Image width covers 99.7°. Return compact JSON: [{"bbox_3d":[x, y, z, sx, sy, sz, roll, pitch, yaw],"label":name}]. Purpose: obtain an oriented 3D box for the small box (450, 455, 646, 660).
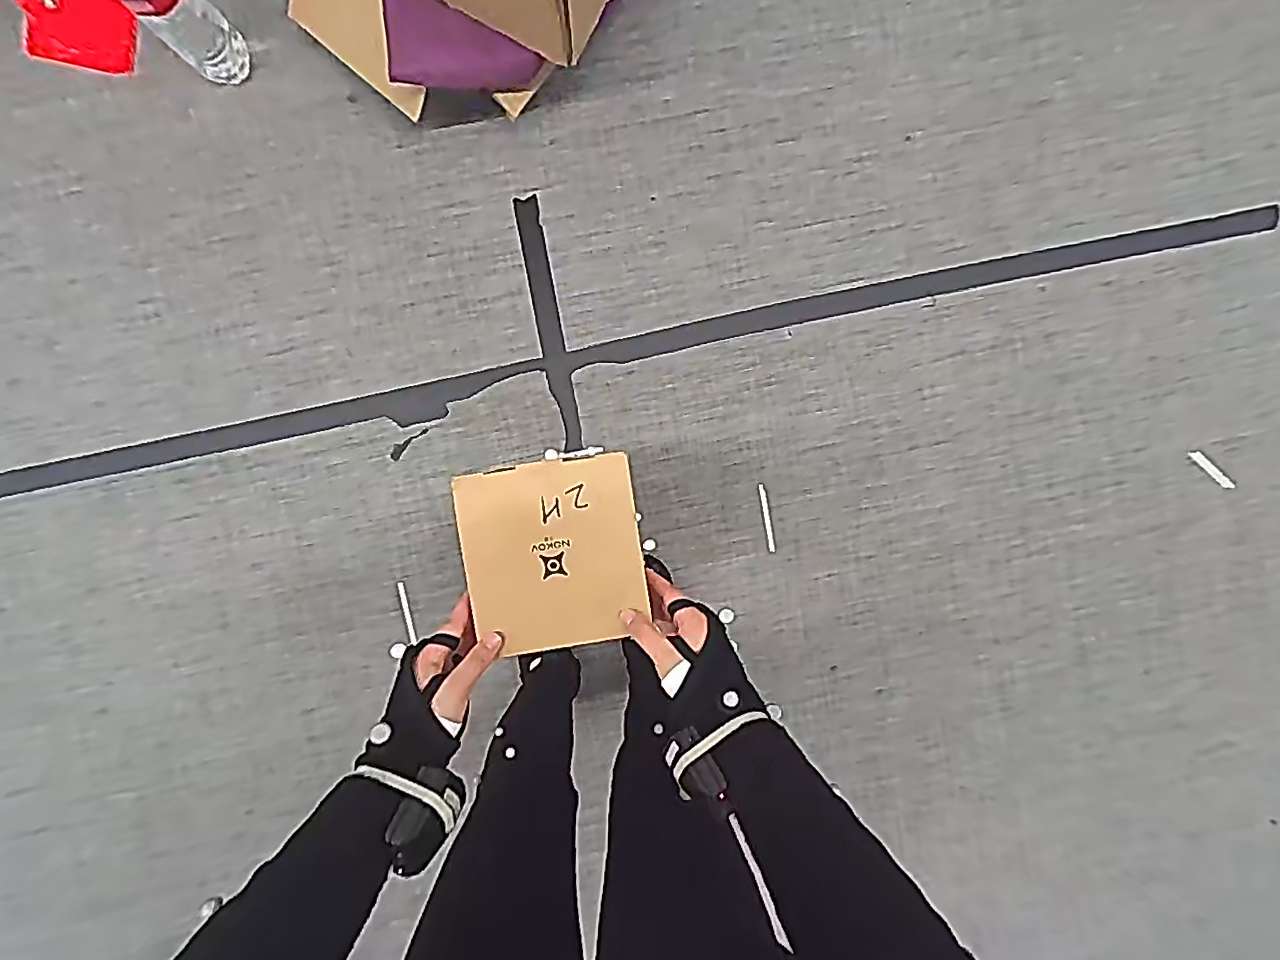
[{"bbox_3d":[-0.088,0.071,0.587,0.168,0.176,0.179,-9,91,-3],"label":"small box"}]
